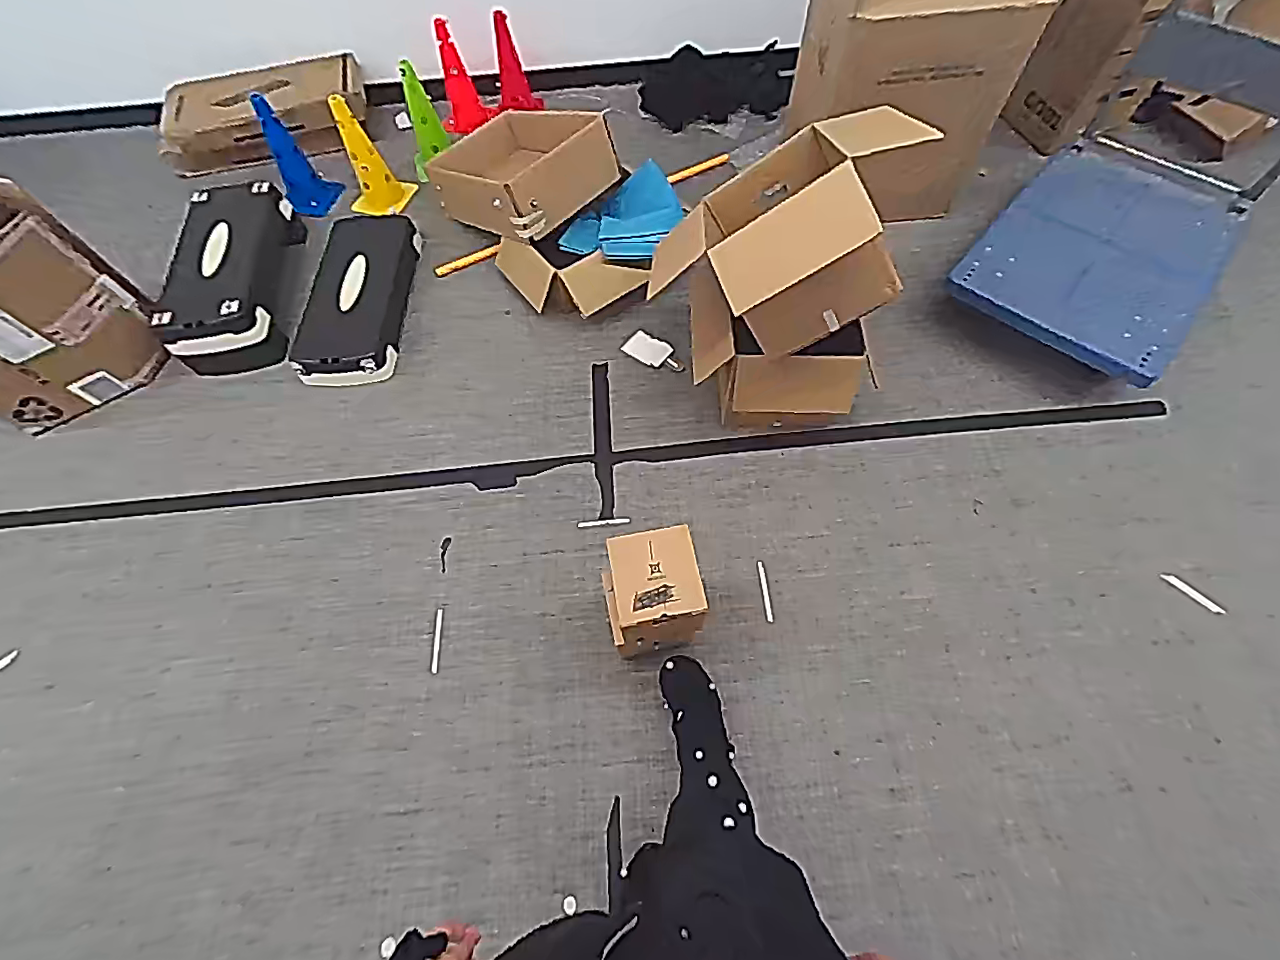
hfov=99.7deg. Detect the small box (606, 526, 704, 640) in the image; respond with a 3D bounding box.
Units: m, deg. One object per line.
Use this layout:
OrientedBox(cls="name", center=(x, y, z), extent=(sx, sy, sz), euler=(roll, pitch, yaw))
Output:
OrientedBox(cls="small box", center=(0.029, 0.215, 1.090), extent=(0.168, 0.176, 0.179), euler=(-10, 62, -3))
